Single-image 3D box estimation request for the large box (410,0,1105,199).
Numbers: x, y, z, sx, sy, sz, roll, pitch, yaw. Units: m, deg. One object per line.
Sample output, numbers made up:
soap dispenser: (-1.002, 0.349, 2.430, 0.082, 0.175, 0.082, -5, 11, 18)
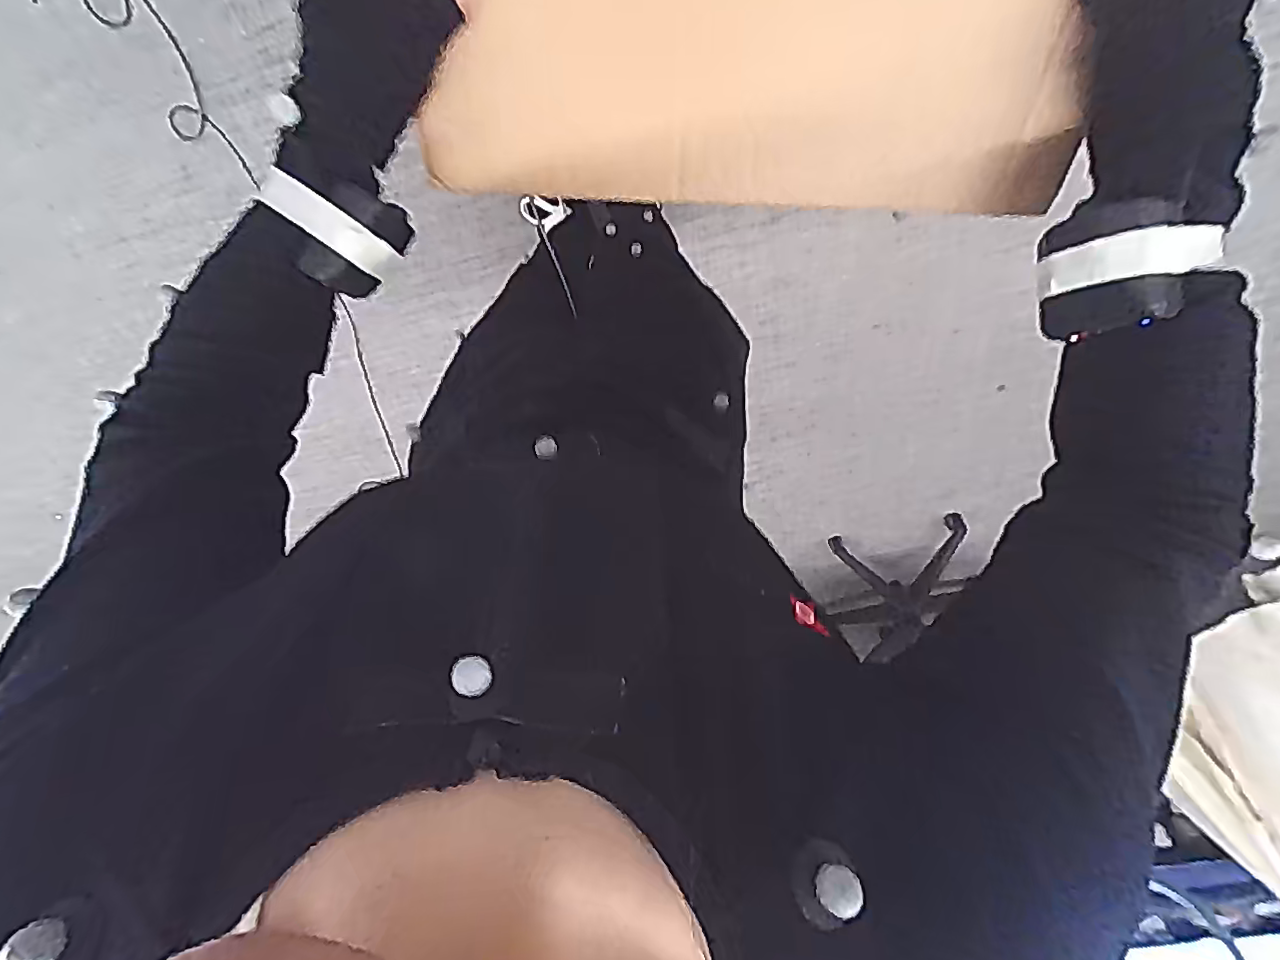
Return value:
large box: (0.074, -0.412, 0.389, 0.408, 0.320, 0.320, 3, 128, 1)
